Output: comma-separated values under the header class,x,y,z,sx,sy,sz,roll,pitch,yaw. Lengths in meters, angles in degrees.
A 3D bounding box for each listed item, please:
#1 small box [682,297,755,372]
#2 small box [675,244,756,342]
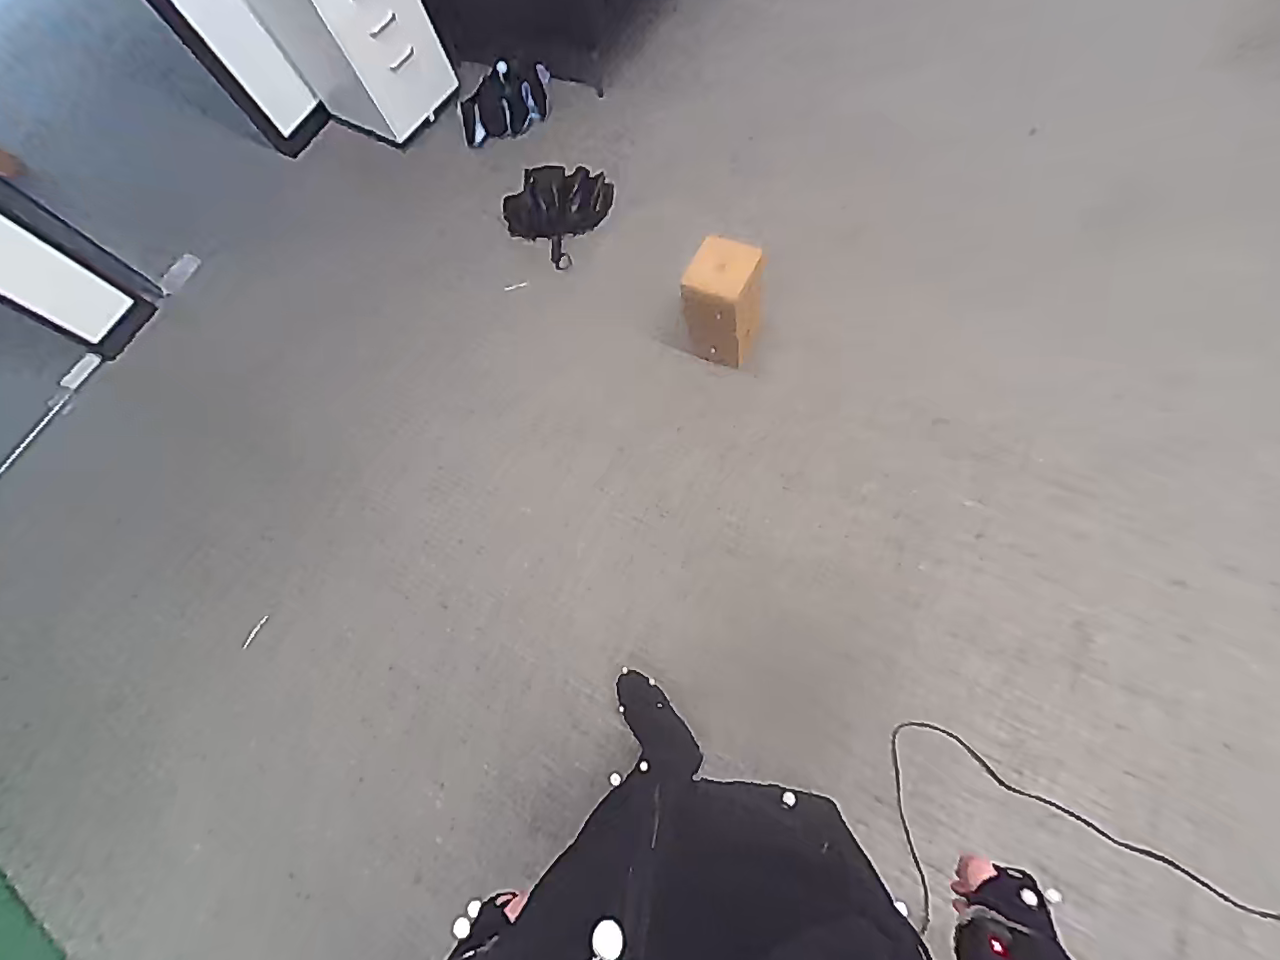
class,x,y,z,sx,sy,sz,roll,pitch,yaw
small box,0.248,-0.461,1.666,0.168,0.176,0.179,22,75,18
small box,0.216,-0.518,1.517,0.168,0.176,0.179,24,74,18
